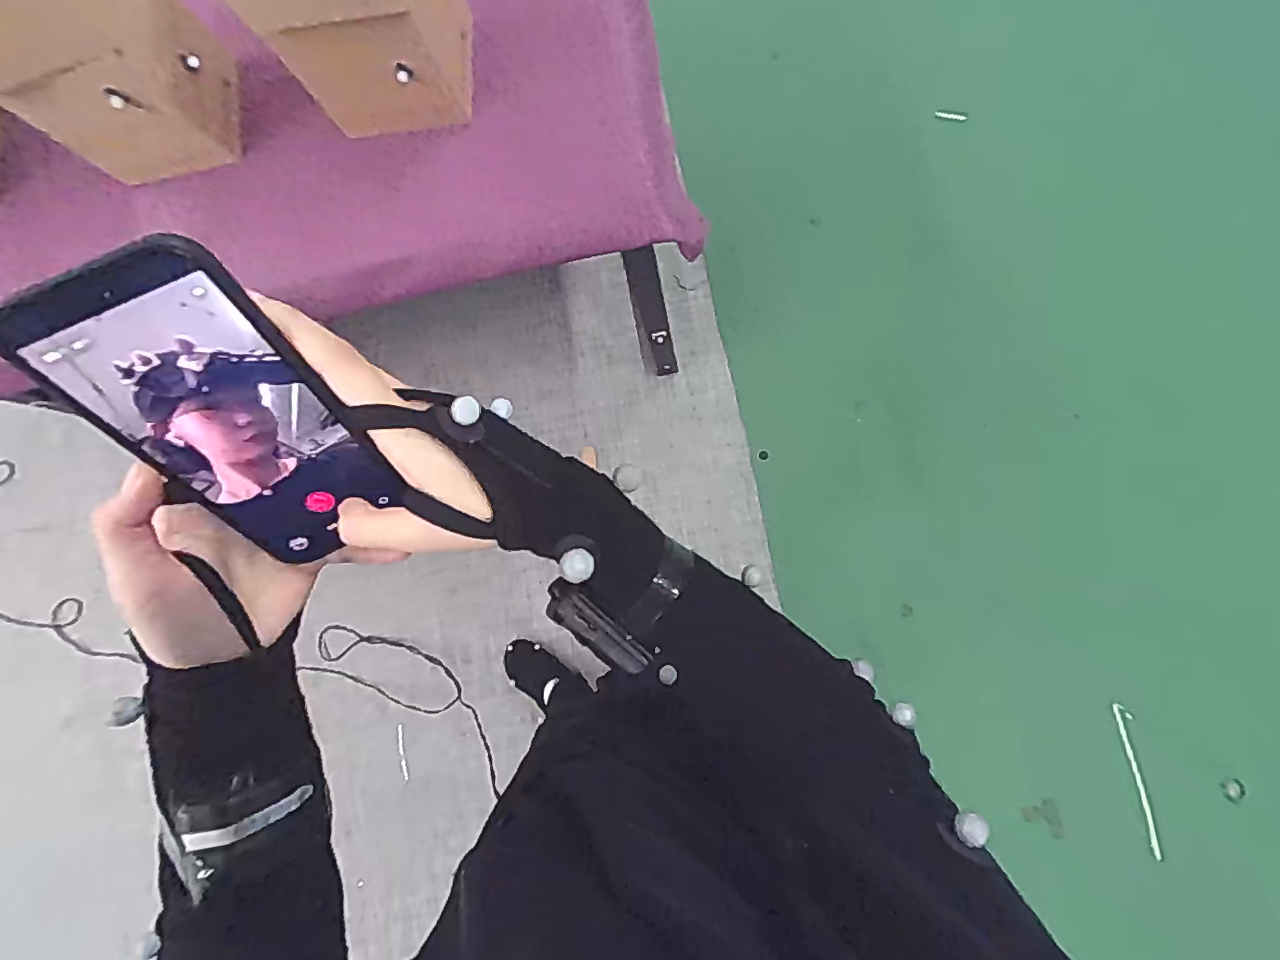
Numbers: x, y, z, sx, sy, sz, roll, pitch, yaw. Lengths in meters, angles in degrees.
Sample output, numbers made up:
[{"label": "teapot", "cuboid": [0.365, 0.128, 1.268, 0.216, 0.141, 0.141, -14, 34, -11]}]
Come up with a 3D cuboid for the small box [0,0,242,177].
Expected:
[{"label": "small box", "cuboid": [-0.653, -0.529, 0.698, 0.179, 0.176, 0.168, -8, 82, 6]}]

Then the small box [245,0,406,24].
[{"label": "small box", "cuboid": [-0.326, -0.569, 0.496, 0.179, 0.176, 0.168, -2, 82, 7]}]

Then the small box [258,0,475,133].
[{"label": "small box", "cuboid": [-0.316, -0.563, 0.660, 0.179, 0.176, 0.168, -2, 82, 8]}]

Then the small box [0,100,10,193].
[{"label": "small box", "cuboid": [-1.040, -0.496, 0.744, 0.168, 0.176, 0.179, -7, 82, 6]}]
